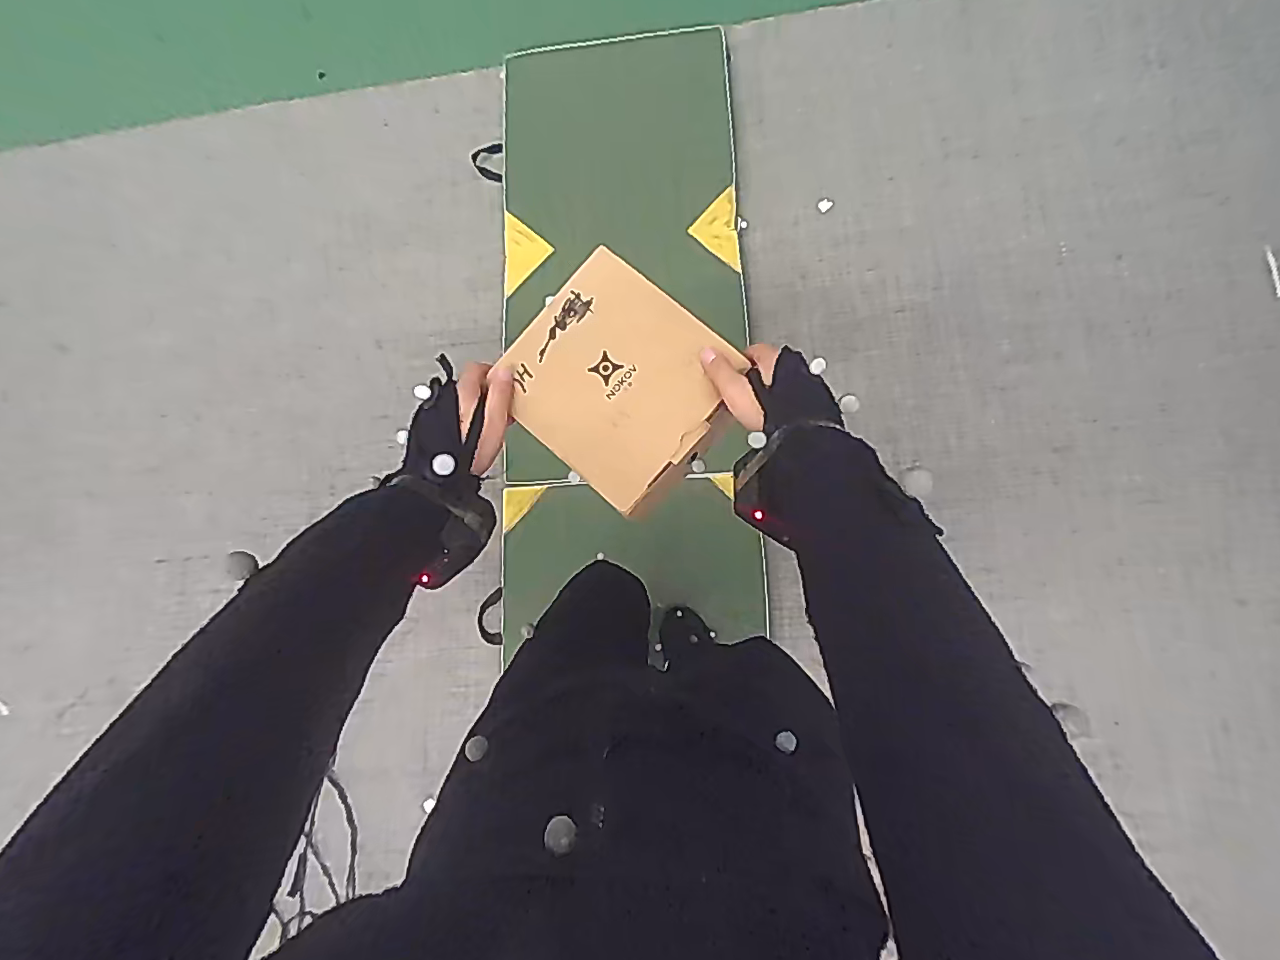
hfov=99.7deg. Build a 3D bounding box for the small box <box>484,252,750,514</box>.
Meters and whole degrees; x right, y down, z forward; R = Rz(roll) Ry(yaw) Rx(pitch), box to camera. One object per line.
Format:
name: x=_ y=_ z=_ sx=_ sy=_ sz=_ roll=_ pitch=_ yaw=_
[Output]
small box: x=-0.015 y=-0.081 z=0.546 sx=0.179 sy=0.176 sz=0.168 roll=41 pitch=88 yaw=8
